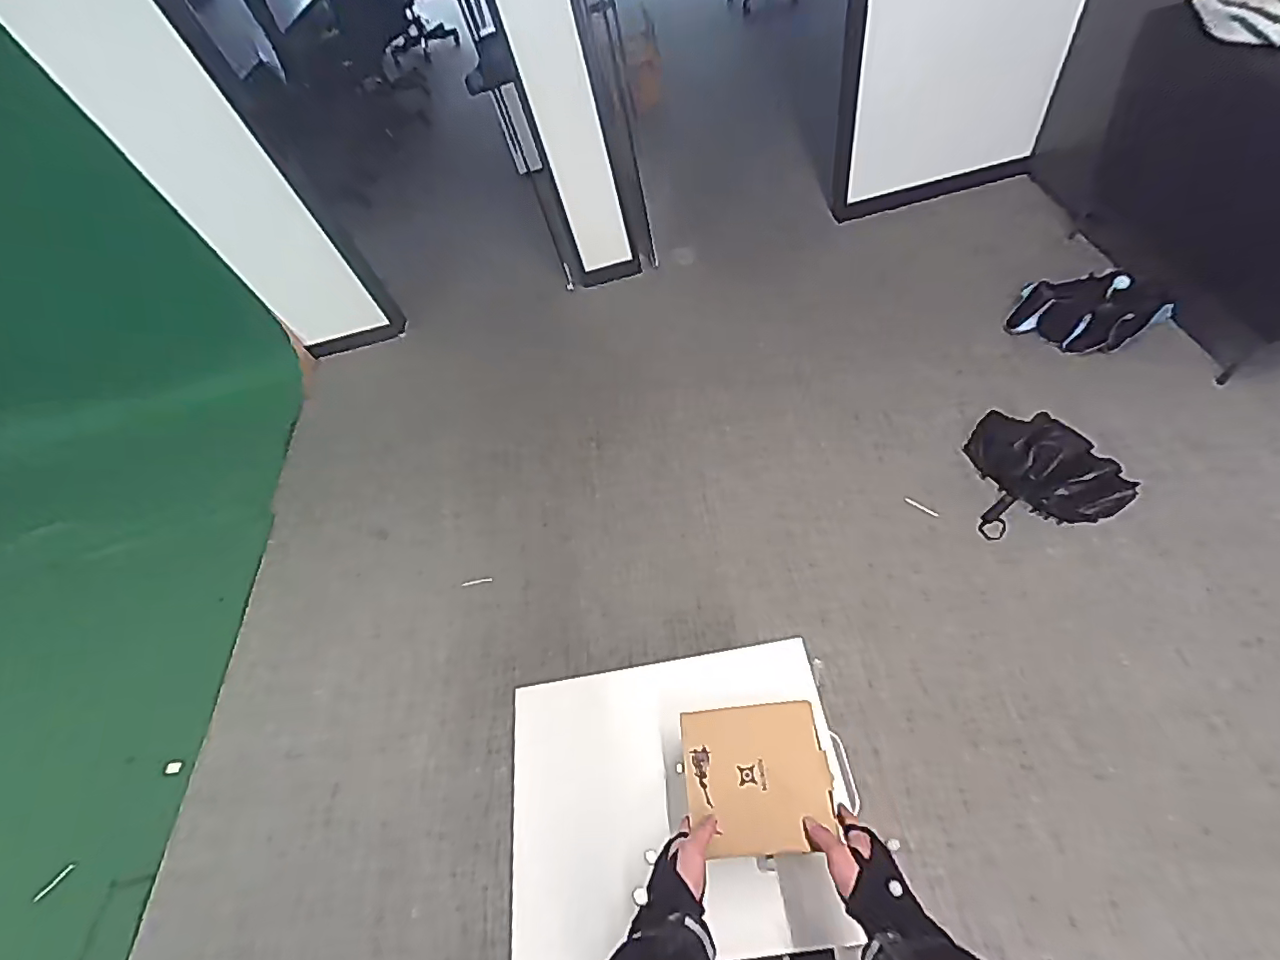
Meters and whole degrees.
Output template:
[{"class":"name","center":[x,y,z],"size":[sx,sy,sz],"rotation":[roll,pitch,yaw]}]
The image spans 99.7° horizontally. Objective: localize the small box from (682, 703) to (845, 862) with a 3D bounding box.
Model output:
[{"class":"small box","center":[0.157,0.409,0.730],"size":[0.179,0.176,0.168],"rotation":[-8,55,6]}]
